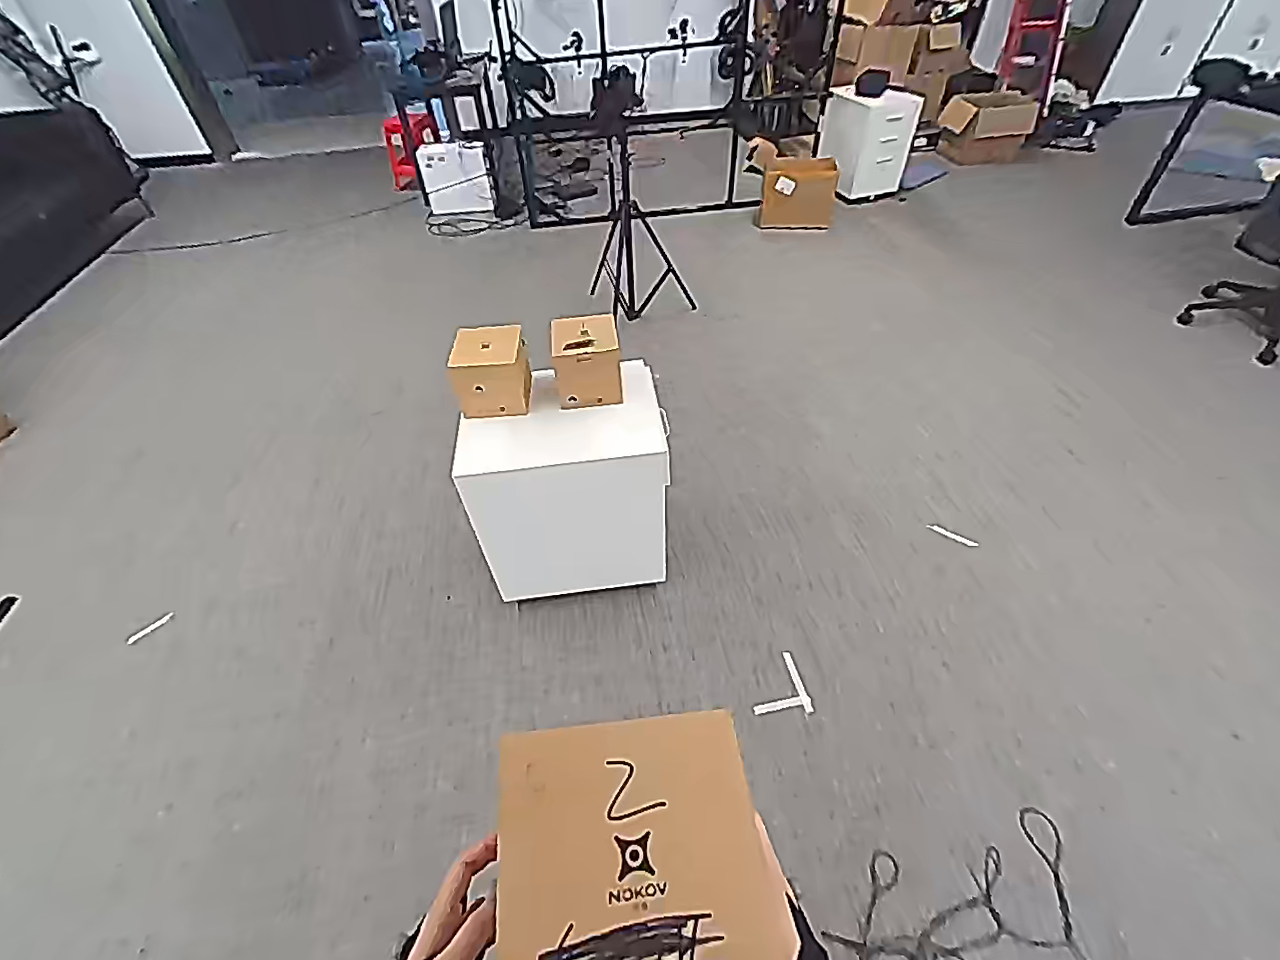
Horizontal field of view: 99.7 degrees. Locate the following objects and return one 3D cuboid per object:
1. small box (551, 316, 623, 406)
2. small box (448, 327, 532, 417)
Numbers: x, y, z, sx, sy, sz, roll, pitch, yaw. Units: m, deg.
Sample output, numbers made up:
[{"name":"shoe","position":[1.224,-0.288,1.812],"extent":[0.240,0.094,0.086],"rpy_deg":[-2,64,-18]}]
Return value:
[{"name":"small box","position":[-0.138,-0.307,1.424],"extent":[0.168,0.176,0.179],"rpy_deg":[-6,46,-3]},{"name":"small box","position":[-0.381,-0.275,1.408],"extent":[0.168,0.176,0.179],"rpy_deg":[-4,46,-2]}]
